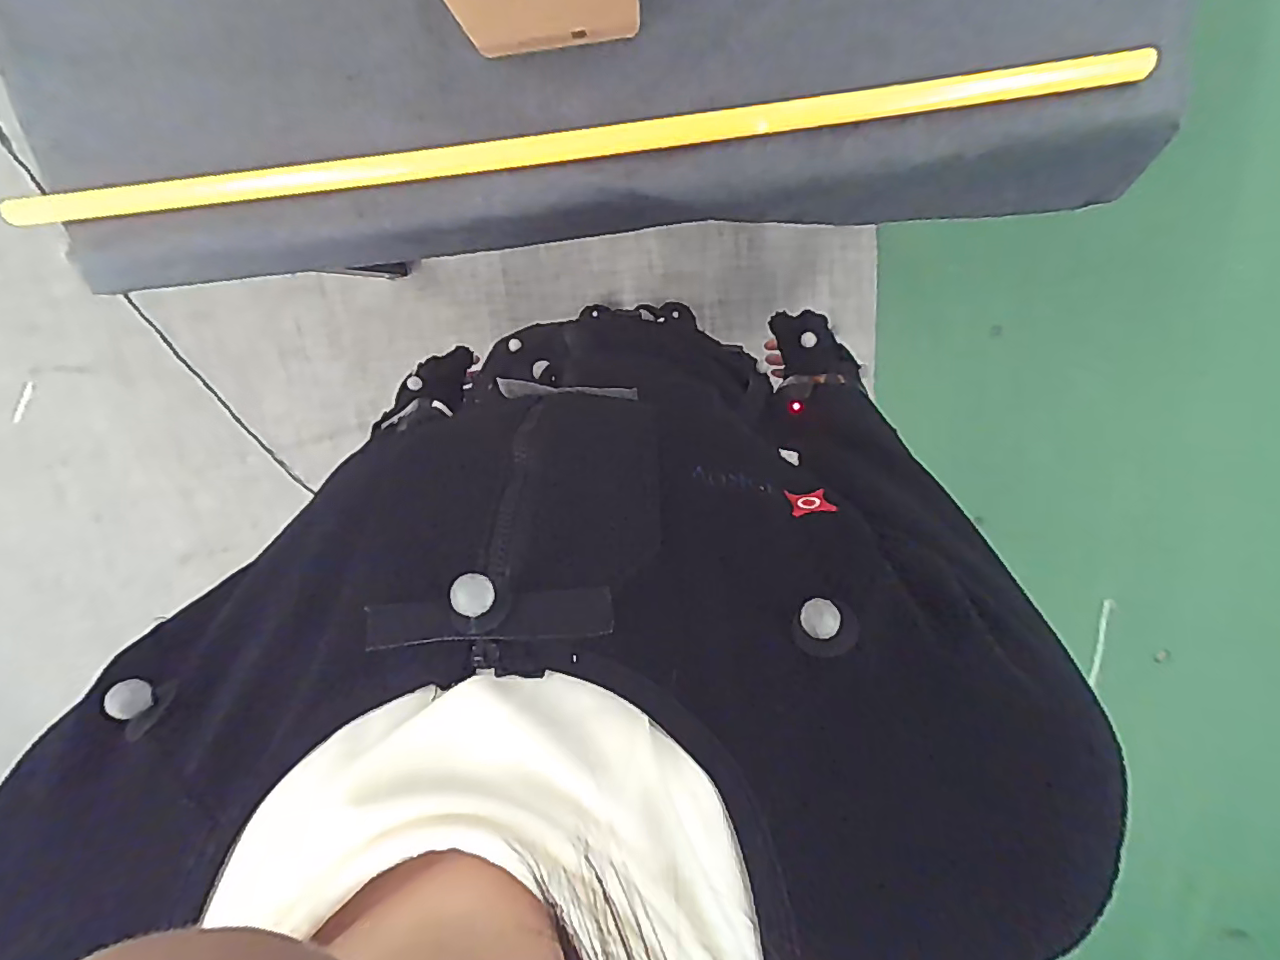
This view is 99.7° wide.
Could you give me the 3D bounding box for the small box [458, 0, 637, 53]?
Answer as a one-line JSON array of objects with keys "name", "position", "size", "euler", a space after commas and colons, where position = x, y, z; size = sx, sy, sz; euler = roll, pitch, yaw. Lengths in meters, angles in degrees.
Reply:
[{"name": "small box", "position": [-0.094, -0.507, 0.454], "size": [0.168, 0.176, 0.179], "euler": [-6, 107, 4]}]
